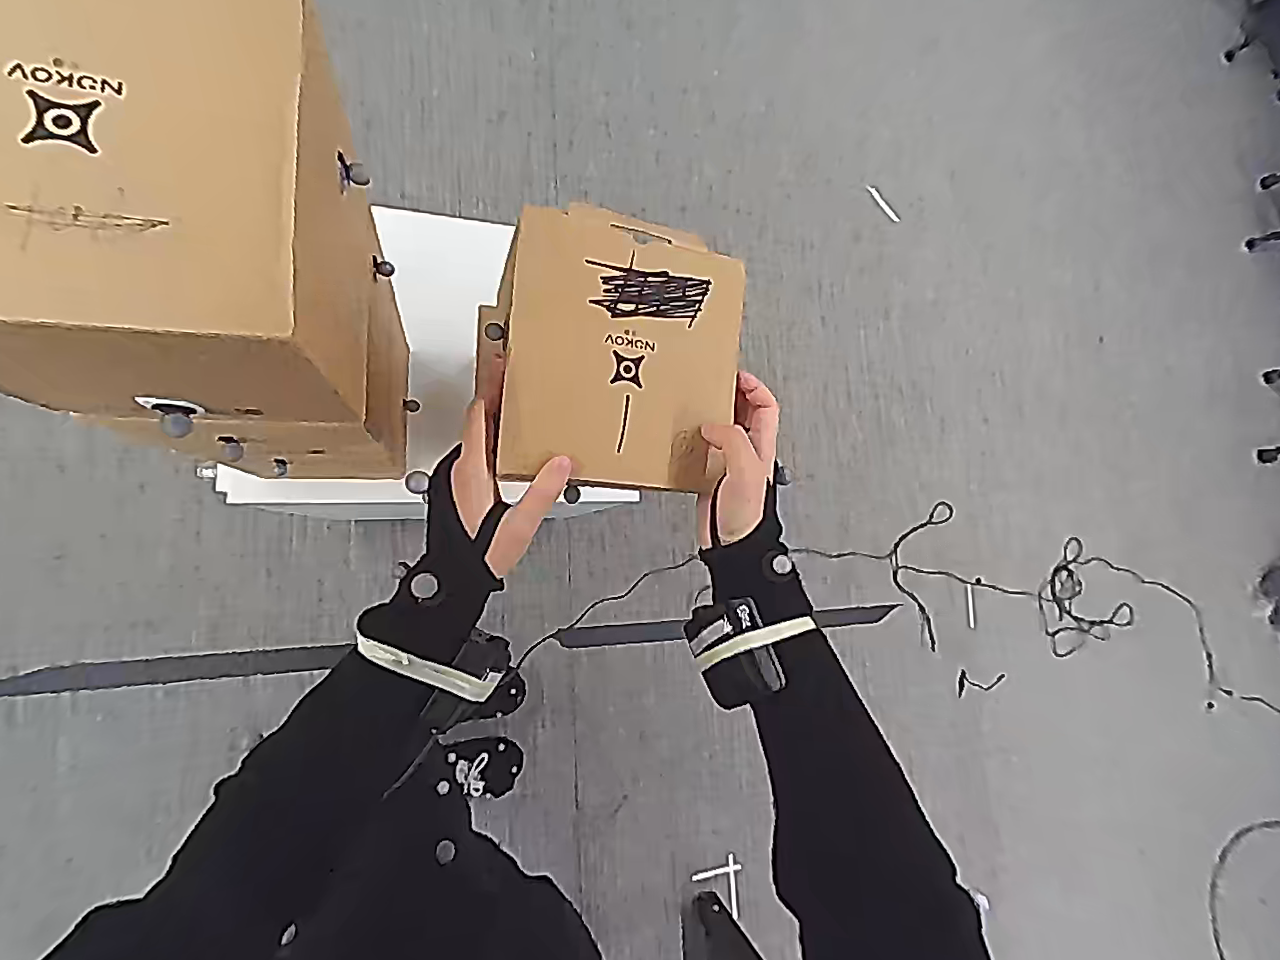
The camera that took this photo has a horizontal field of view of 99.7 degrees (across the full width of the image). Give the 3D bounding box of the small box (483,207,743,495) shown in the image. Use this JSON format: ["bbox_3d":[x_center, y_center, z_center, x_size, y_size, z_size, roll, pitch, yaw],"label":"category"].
[{"bbox_3d":[-0.034,-0.082,0.444,0.168,0.176,0.179,5,88,-20],"label":"small box"}]

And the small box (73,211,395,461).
[{"bbox_3d":[-0.299,-0.111,0.441,0.168,0.176,0.179,0,83,-18],"label":"small box"}]

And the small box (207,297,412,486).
[{"bbox_3d":[-0.350,-0.093,0.594,0.168,0.176,0.179,1,82,-17],"label":"small box"}]

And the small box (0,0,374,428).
[{"bbox_3d":[-0.247,-0.132,0.289,0.168,0.176,0.179,-1,84,-17],"label":"small box"}]
